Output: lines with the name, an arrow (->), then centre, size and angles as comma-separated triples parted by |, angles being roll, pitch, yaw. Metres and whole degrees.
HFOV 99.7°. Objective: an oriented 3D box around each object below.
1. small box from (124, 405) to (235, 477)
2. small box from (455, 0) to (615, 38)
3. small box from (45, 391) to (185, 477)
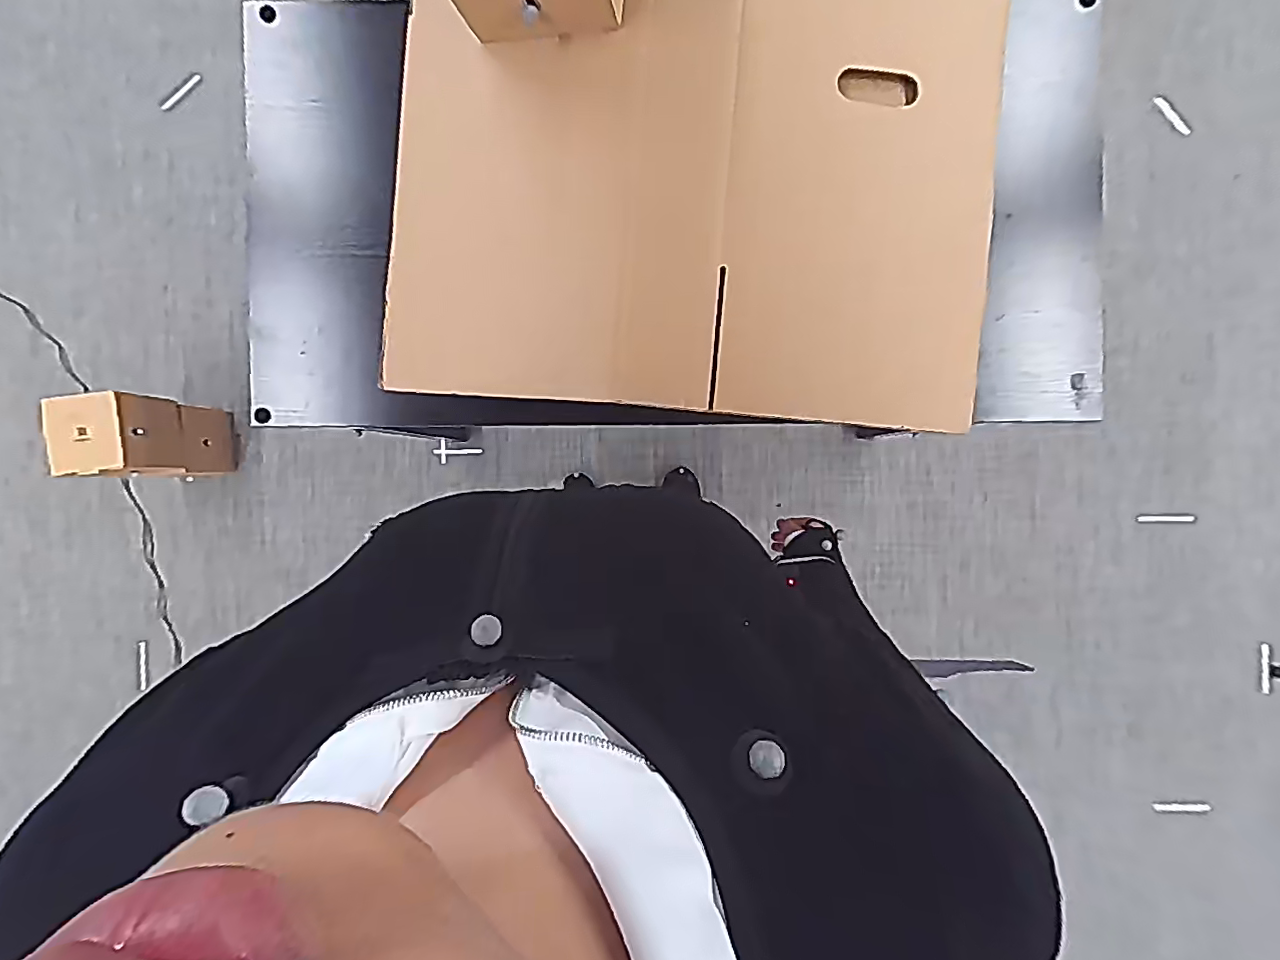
small box -> -1.219, -0.098, 1.435 | 0.168, 0.176, 0.179 | -5, 91, 1
small box -> -0.114, -0.581, 0.528 | 0.179, 0.176, 0.168 | 6, 90, 13
small box -> -1.222, -0.103, 1.272 | 0.168, 0.176, 0.179 | -7, 90, 0
